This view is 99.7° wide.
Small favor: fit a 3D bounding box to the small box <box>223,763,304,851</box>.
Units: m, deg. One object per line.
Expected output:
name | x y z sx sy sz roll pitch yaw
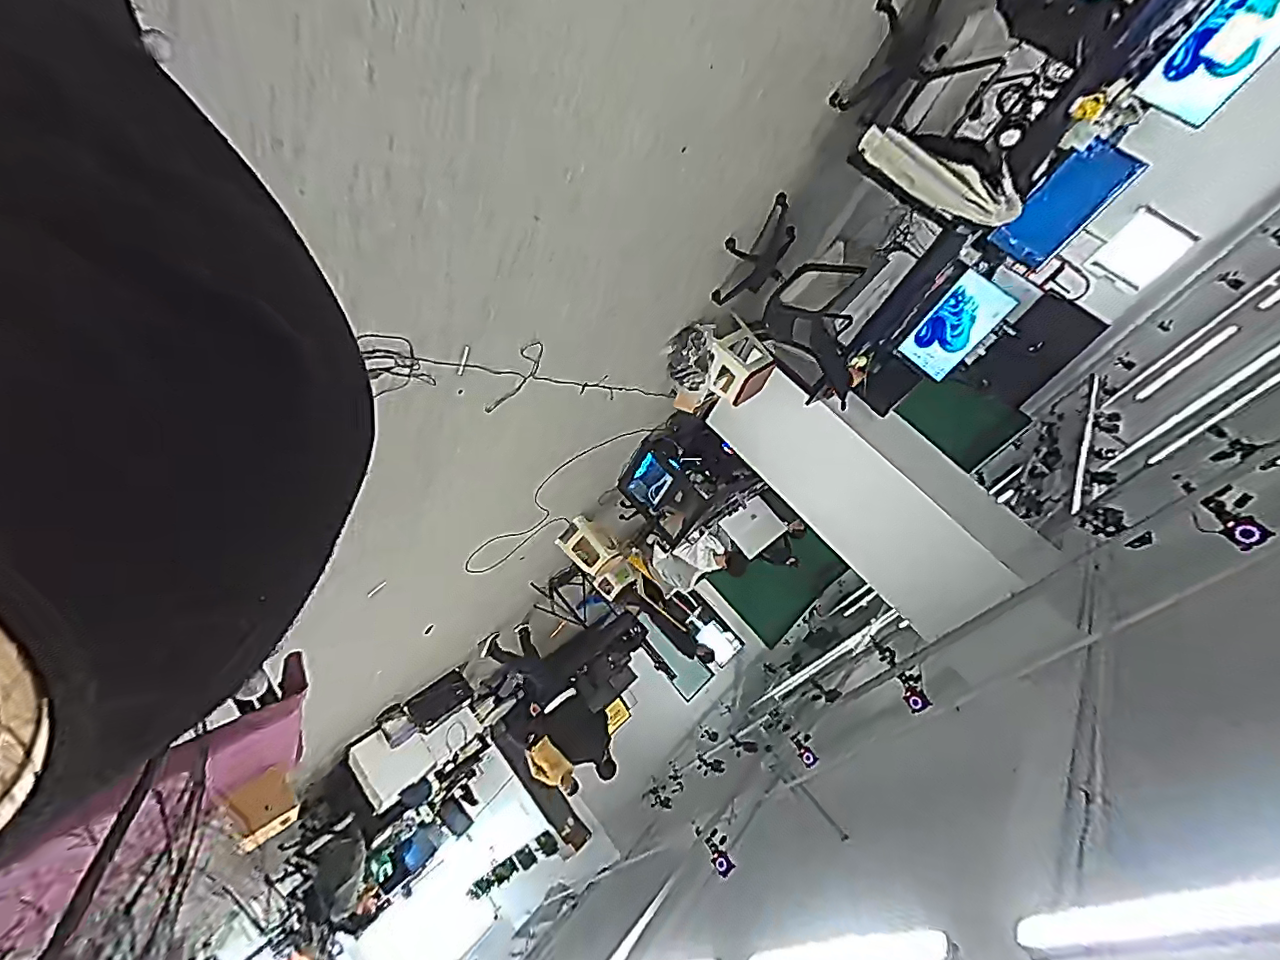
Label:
small box | -1.280 1.104 1.837 0.179 0.176 0.168 -22 152 -48
